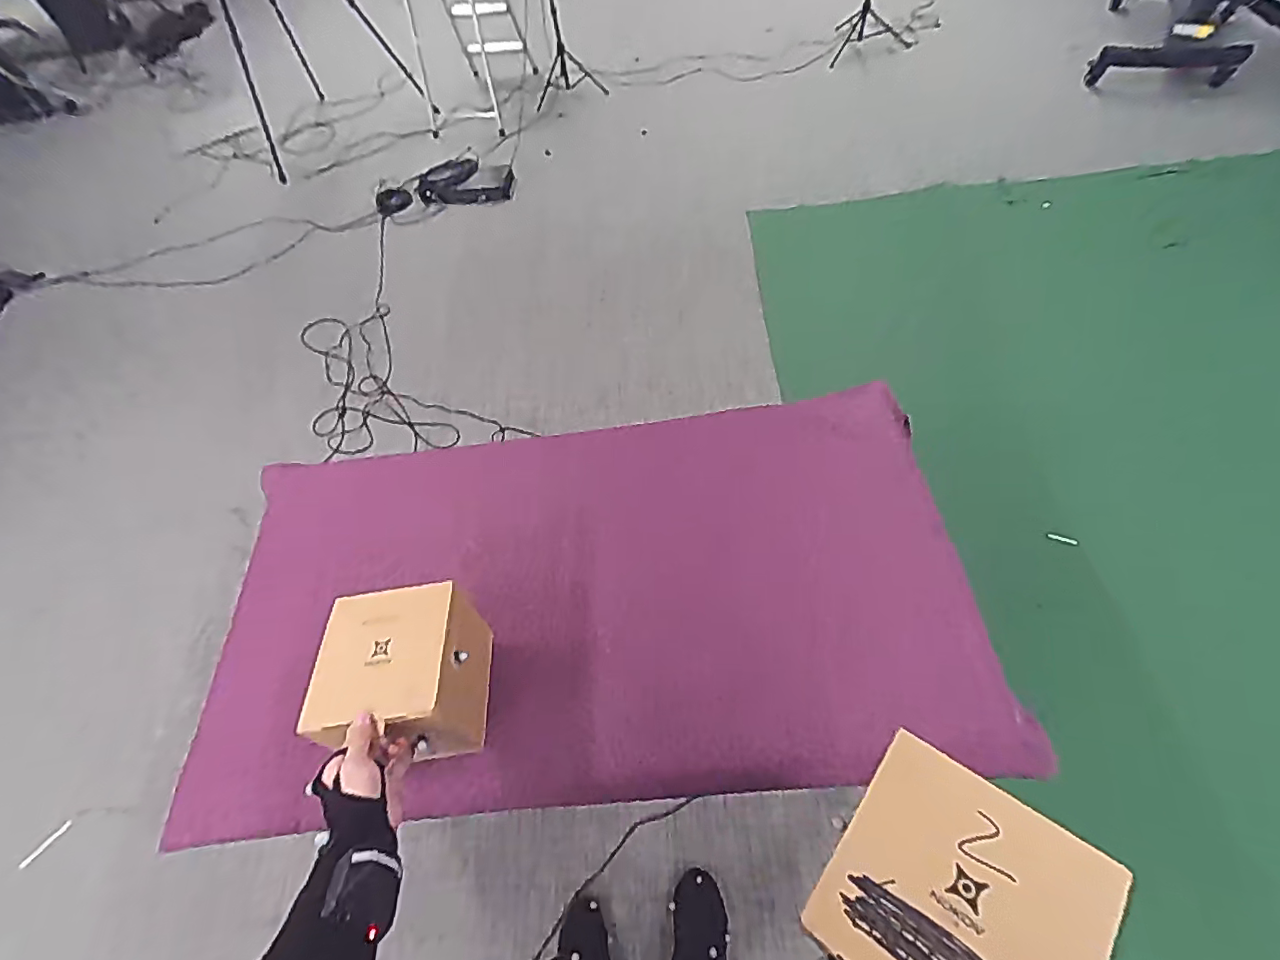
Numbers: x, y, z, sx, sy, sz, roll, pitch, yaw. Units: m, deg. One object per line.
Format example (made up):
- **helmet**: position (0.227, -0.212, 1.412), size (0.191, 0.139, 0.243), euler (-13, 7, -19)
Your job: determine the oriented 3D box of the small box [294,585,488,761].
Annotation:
- **small box**: position (-0.318, 0.268, 0.735), size (0.168, 0.176, 0.179), euler (-8, 49, 2)
